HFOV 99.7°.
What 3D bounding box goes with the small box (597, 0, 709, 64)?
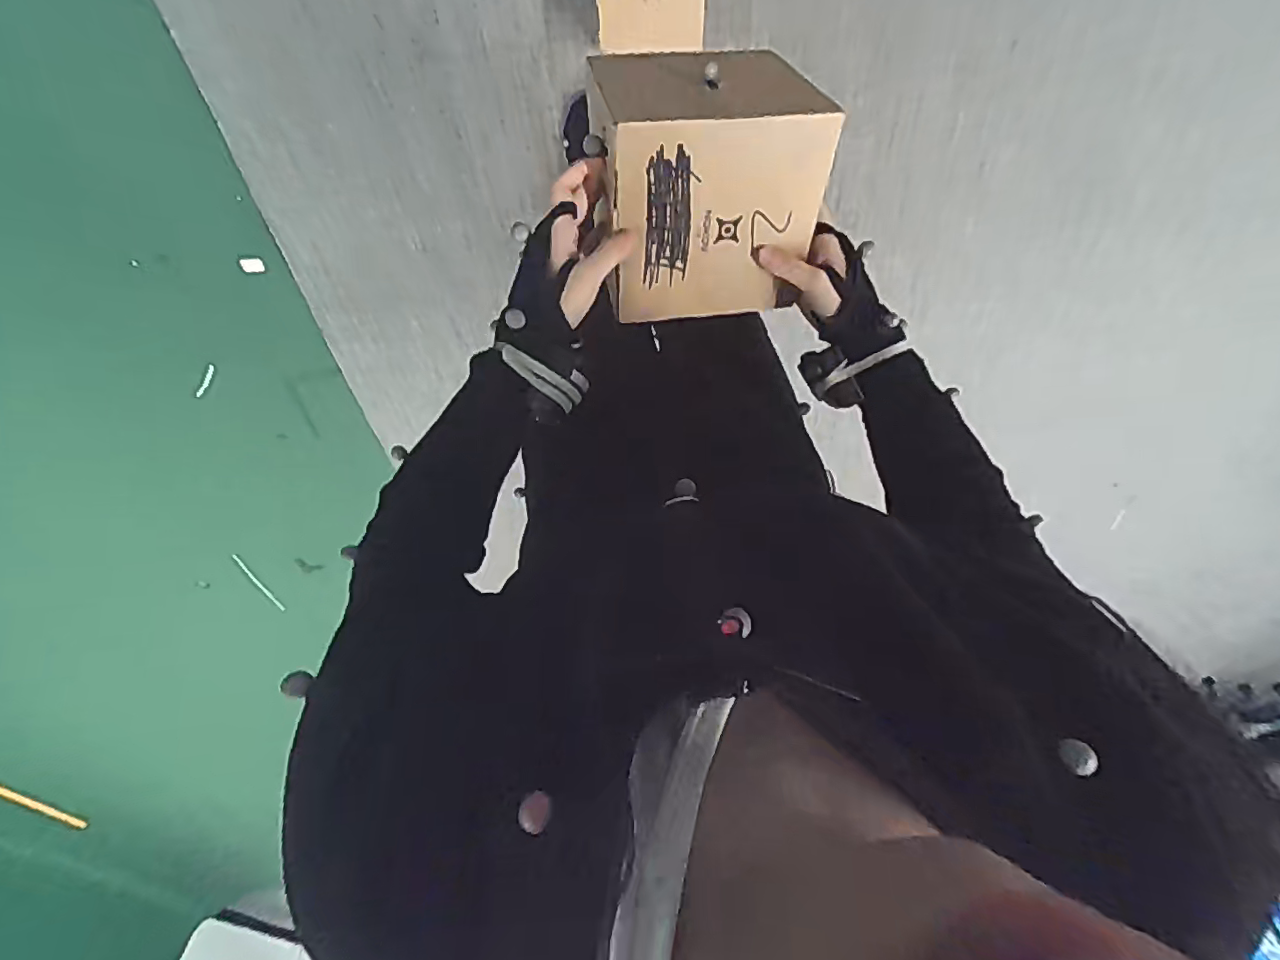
[{"bbox_3d":[0.018,-0.815,0.916,0.179,0.176,0.168,-4,131,-3],"label":"small box"}]
